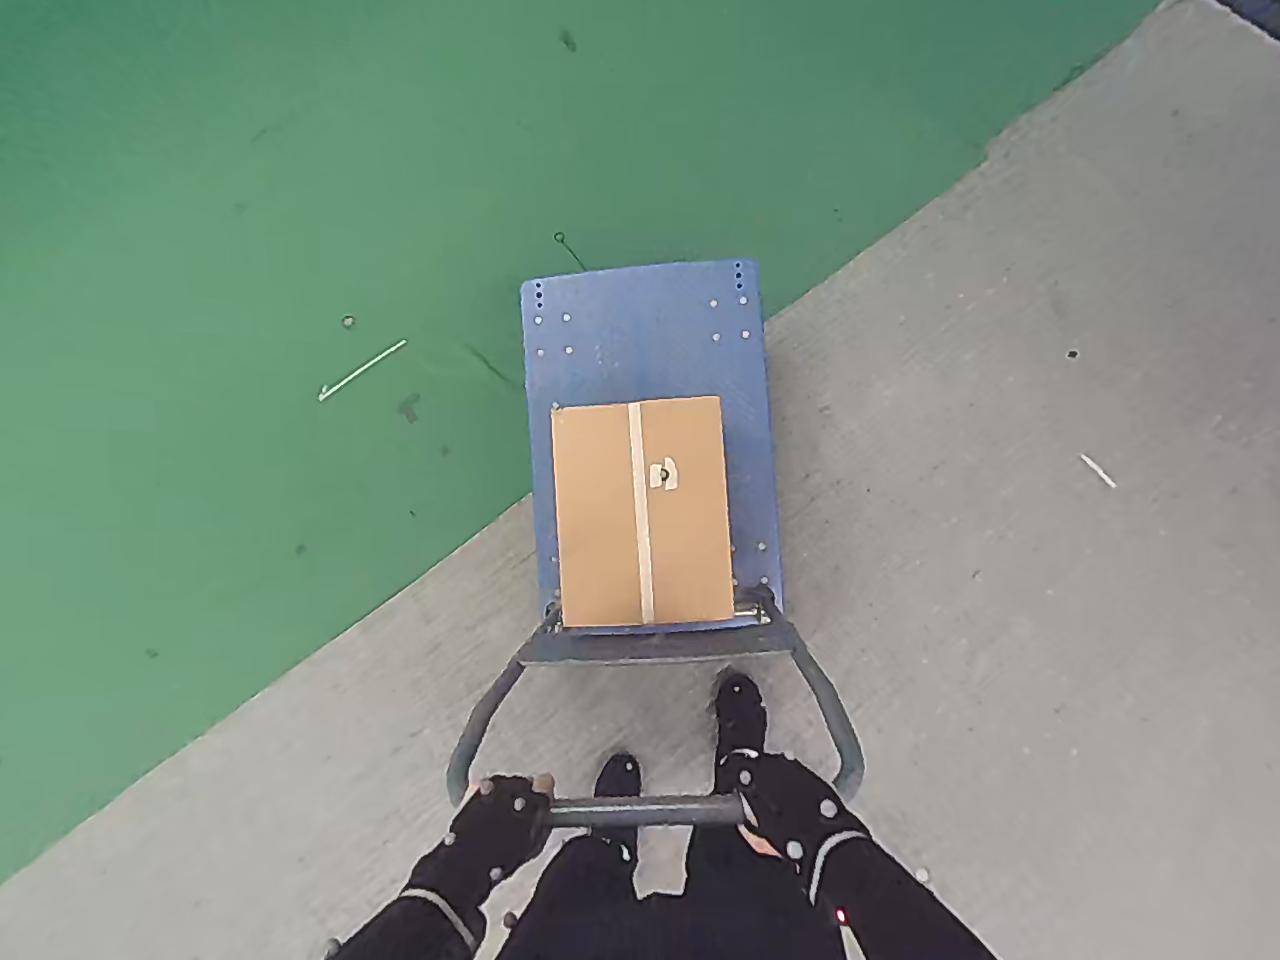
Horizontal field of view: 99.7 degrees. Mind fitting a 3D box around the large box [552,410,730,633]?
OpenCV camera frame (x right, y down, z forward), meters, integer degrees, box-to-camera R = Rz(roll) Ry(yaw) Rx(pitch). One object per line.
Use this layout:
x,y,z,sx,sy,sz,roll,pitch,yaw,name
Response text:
0.012,0.083,1.147,0.320,0.320,0.408,-3,88,4,large box
